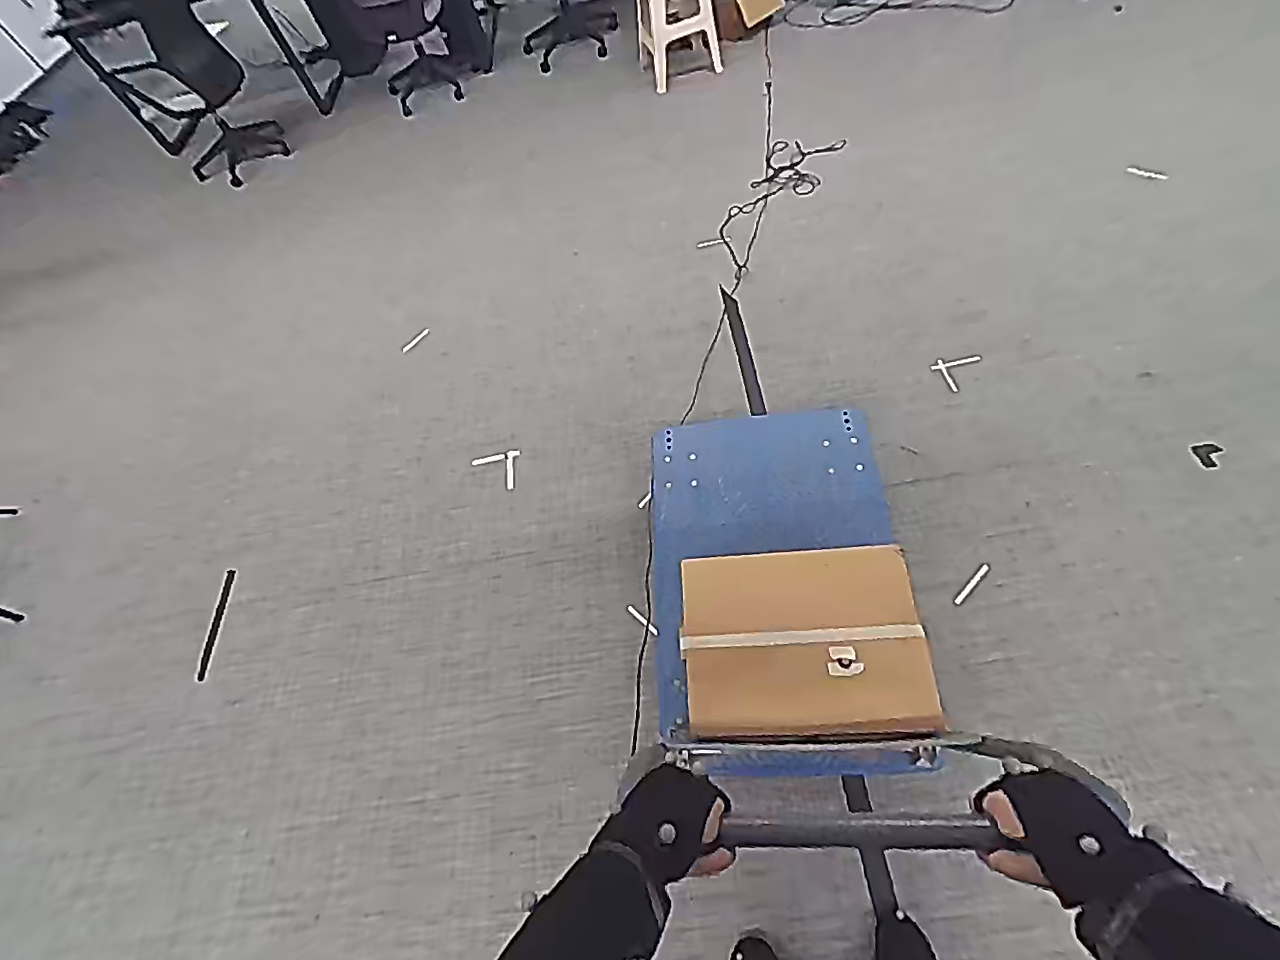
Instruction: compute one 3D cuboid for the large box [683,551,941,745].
[{"bbox_3d":[0.307,0.354,1.088,0.408,0.320,0.320,-6,64,8],"label":"large box"}]
